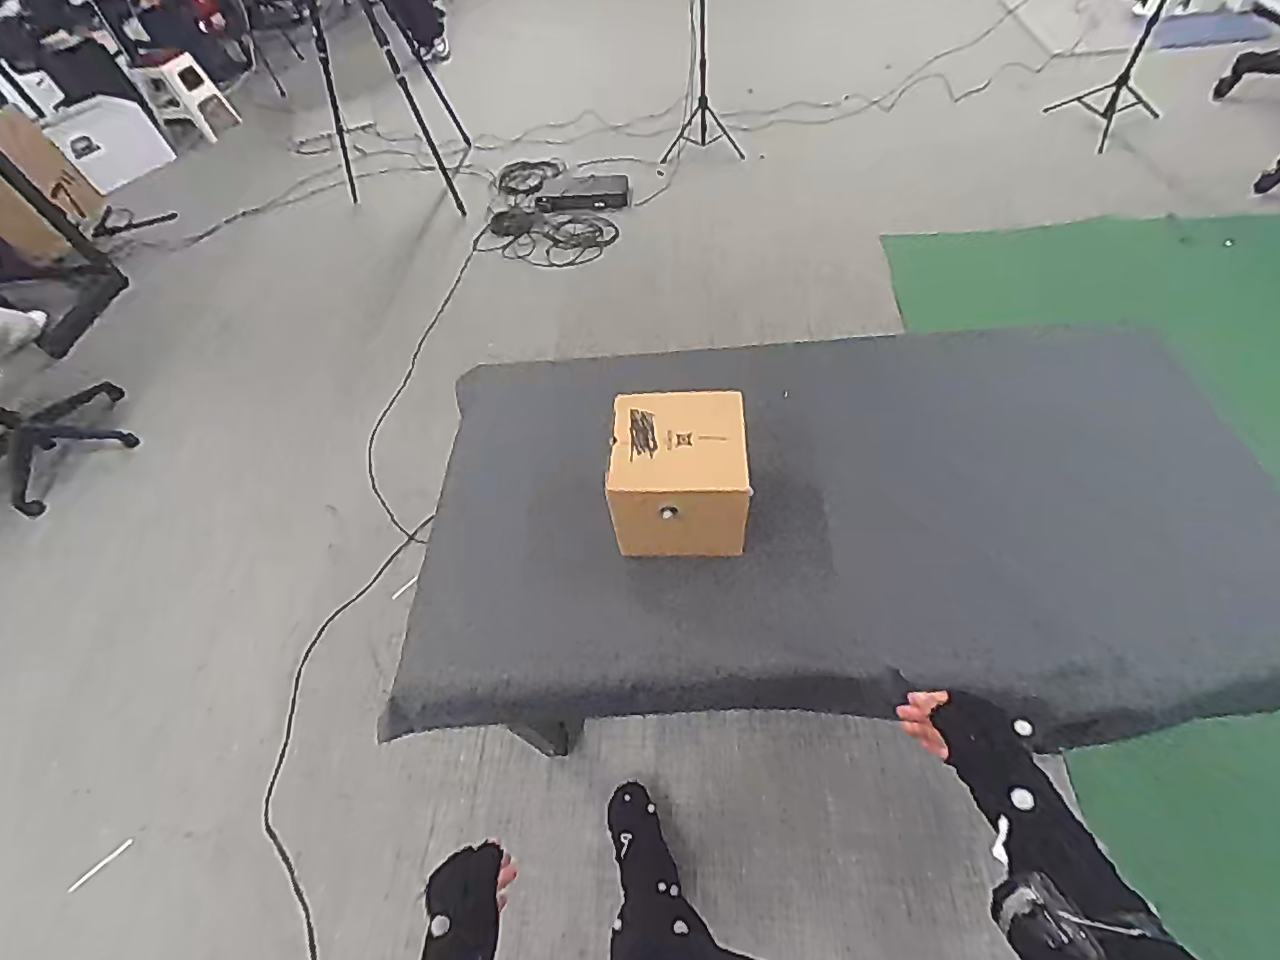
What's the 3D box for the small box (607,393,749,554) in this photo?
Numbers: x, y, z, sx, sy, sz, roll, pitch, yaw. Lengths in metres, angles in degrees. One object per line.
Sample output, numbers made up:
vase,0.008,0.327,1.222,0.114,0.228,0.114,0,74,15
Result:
small box,0.058,-0.004,0.764,0.179,0.176,0.168,0,55,6
